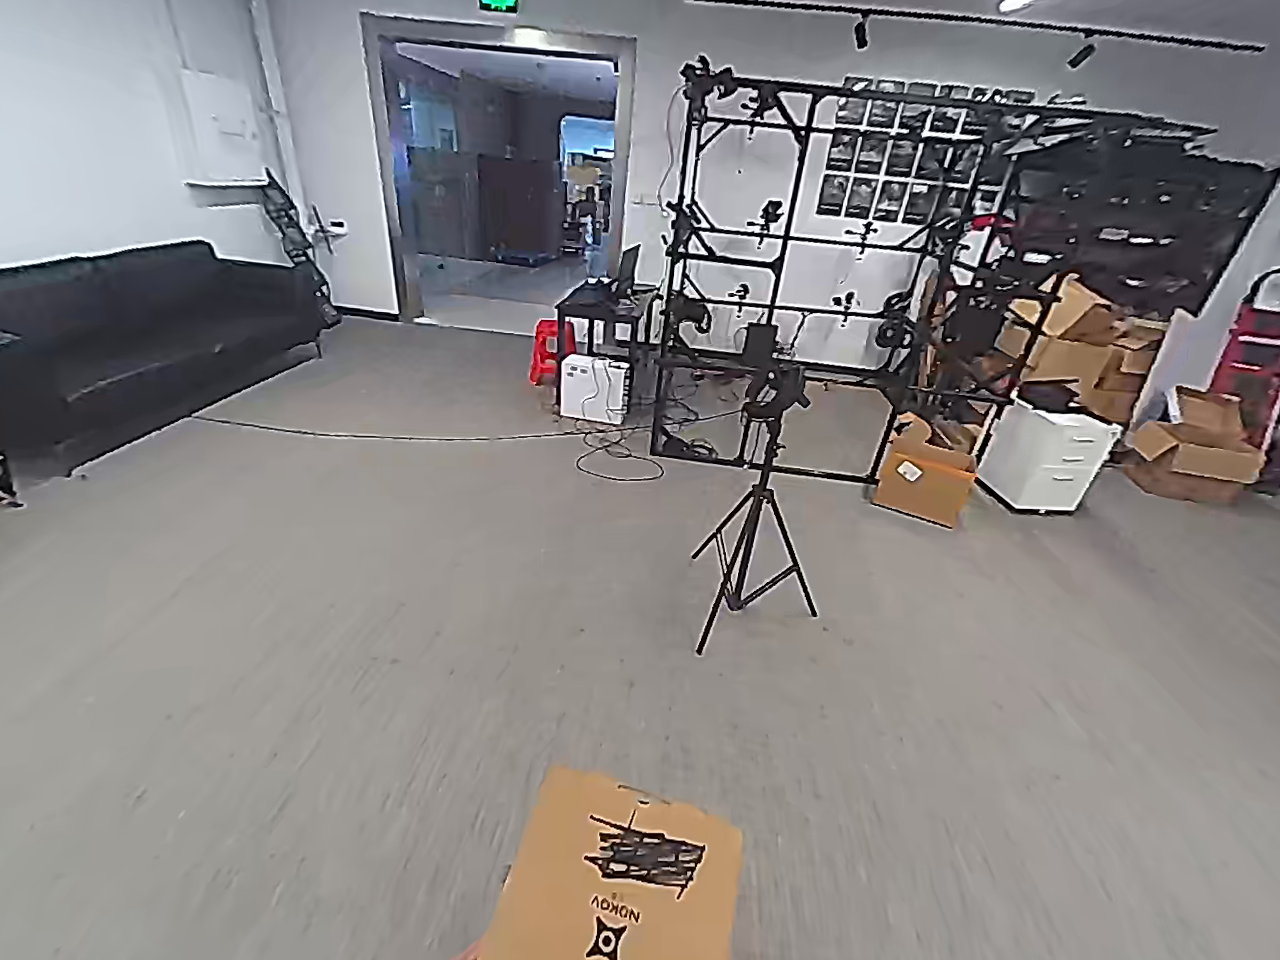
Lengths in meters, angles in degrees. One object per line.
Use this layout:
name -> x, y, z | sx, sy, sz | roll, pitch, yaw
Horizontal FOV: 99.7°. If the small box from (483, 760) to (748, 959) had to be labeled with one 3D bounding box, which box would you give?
small box -> -0.025, 0.364, 0.431 | 0.168, 0.176, 0.179 | 16, 45, 6
